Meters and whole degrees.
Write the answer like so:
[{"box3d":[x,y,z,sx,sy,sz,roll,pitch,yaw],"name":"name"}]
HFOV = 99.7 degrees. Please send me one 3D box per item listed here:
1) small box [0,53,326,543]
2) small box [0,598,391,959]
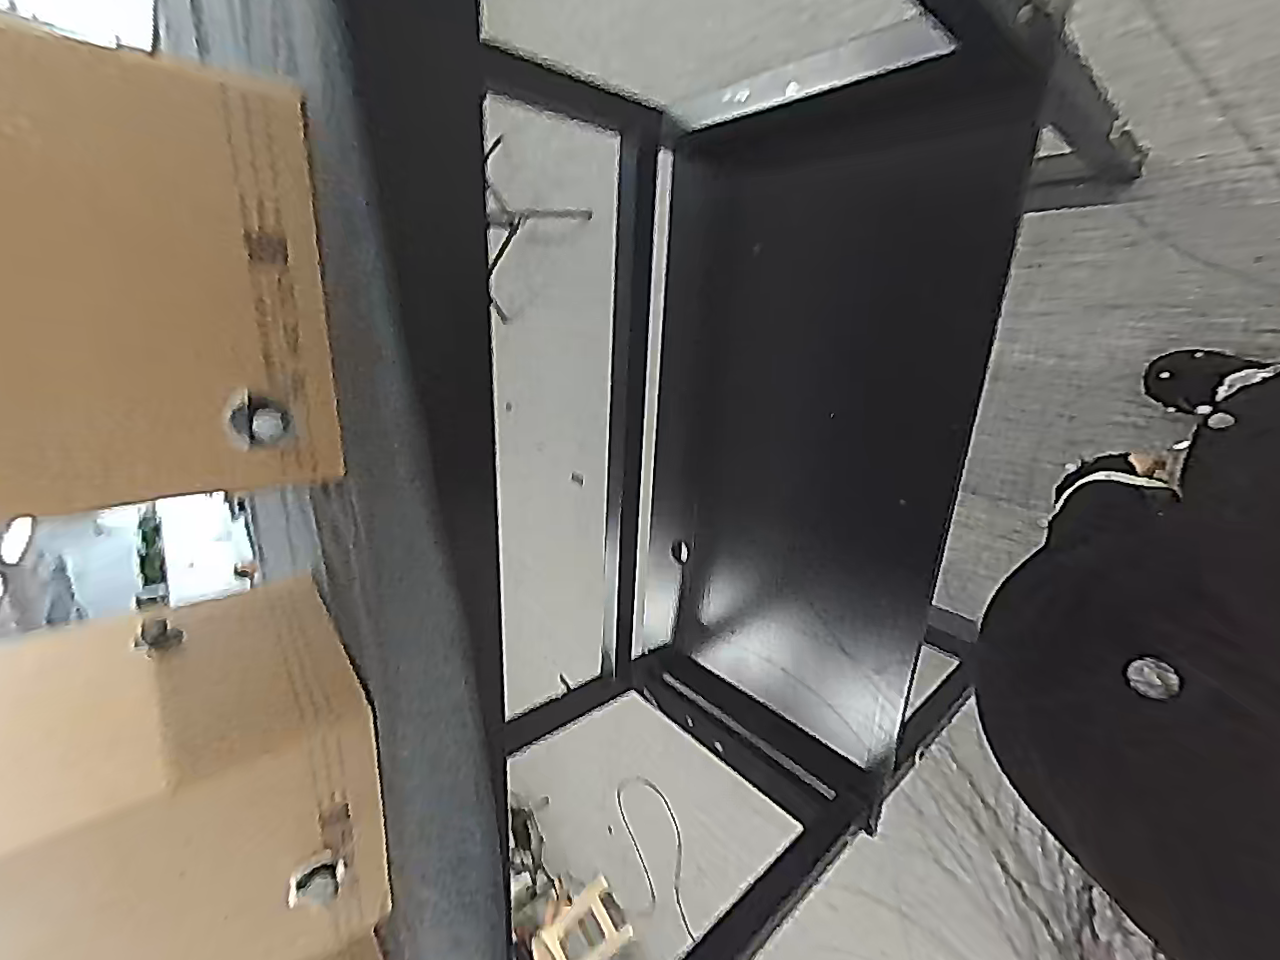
[{"box3d":[-0.258,-0.081,0.249,0.179,0.176,0.168,24,117,45],"name":"small box"},{"box3d":[-0.265,0.191,0.328,0.179,0.176,0.168,25,118,45],"name":"small box"}]
